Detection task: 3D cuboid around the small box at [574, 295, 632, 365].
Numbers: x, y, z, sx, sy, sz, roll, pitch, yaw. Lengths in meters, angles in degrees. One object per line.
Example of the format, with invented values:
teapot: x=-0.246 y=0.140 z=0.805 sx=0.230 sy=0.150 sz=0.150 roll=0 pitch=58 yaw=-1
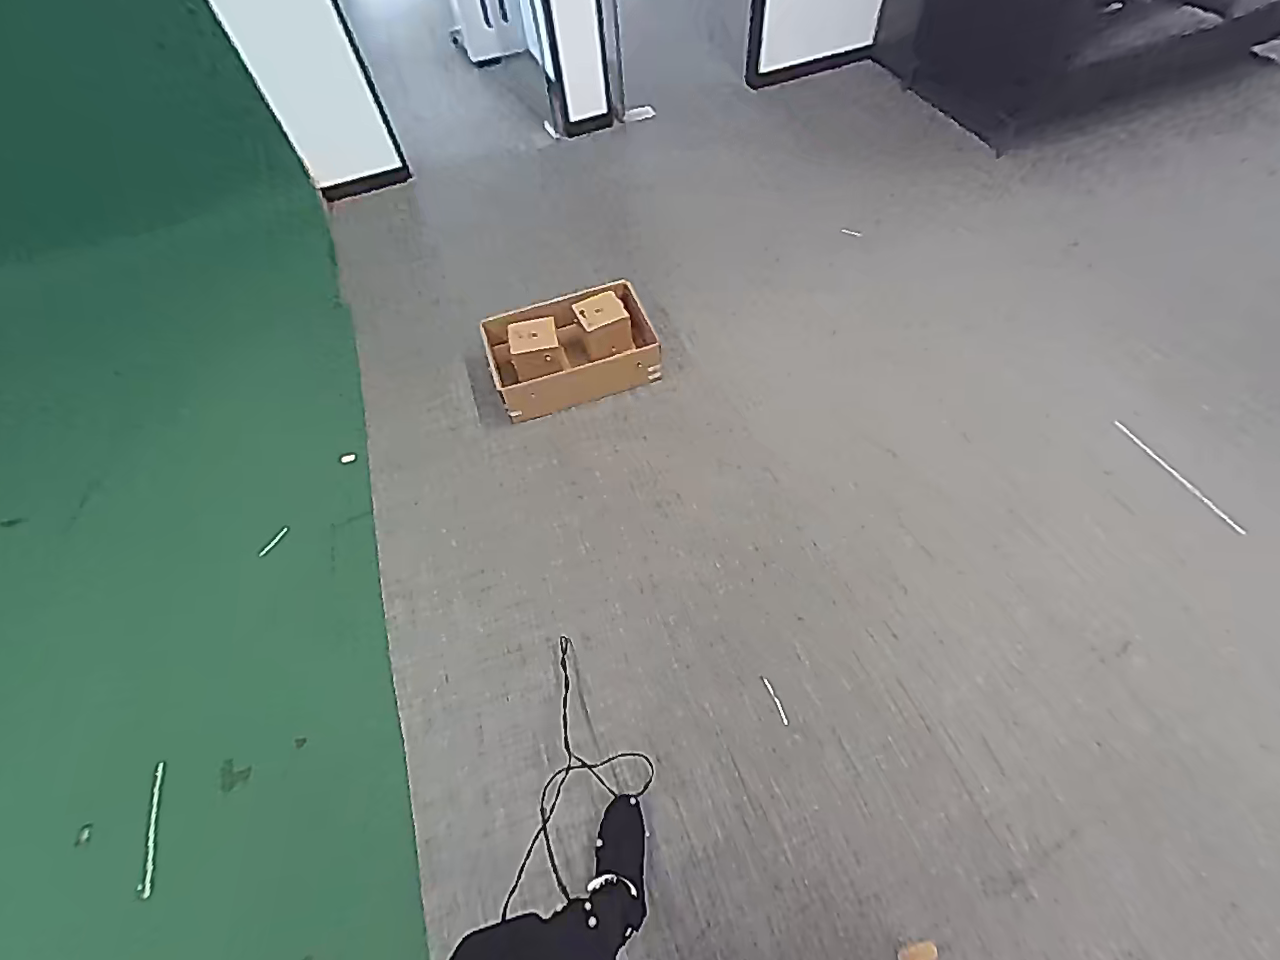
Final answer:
small box: x=-0.138 y=-0.582 z=2.102 sx=0.179 sy=0.176 sz=0.168 roll=-23 pitch=59 yaw=-9
